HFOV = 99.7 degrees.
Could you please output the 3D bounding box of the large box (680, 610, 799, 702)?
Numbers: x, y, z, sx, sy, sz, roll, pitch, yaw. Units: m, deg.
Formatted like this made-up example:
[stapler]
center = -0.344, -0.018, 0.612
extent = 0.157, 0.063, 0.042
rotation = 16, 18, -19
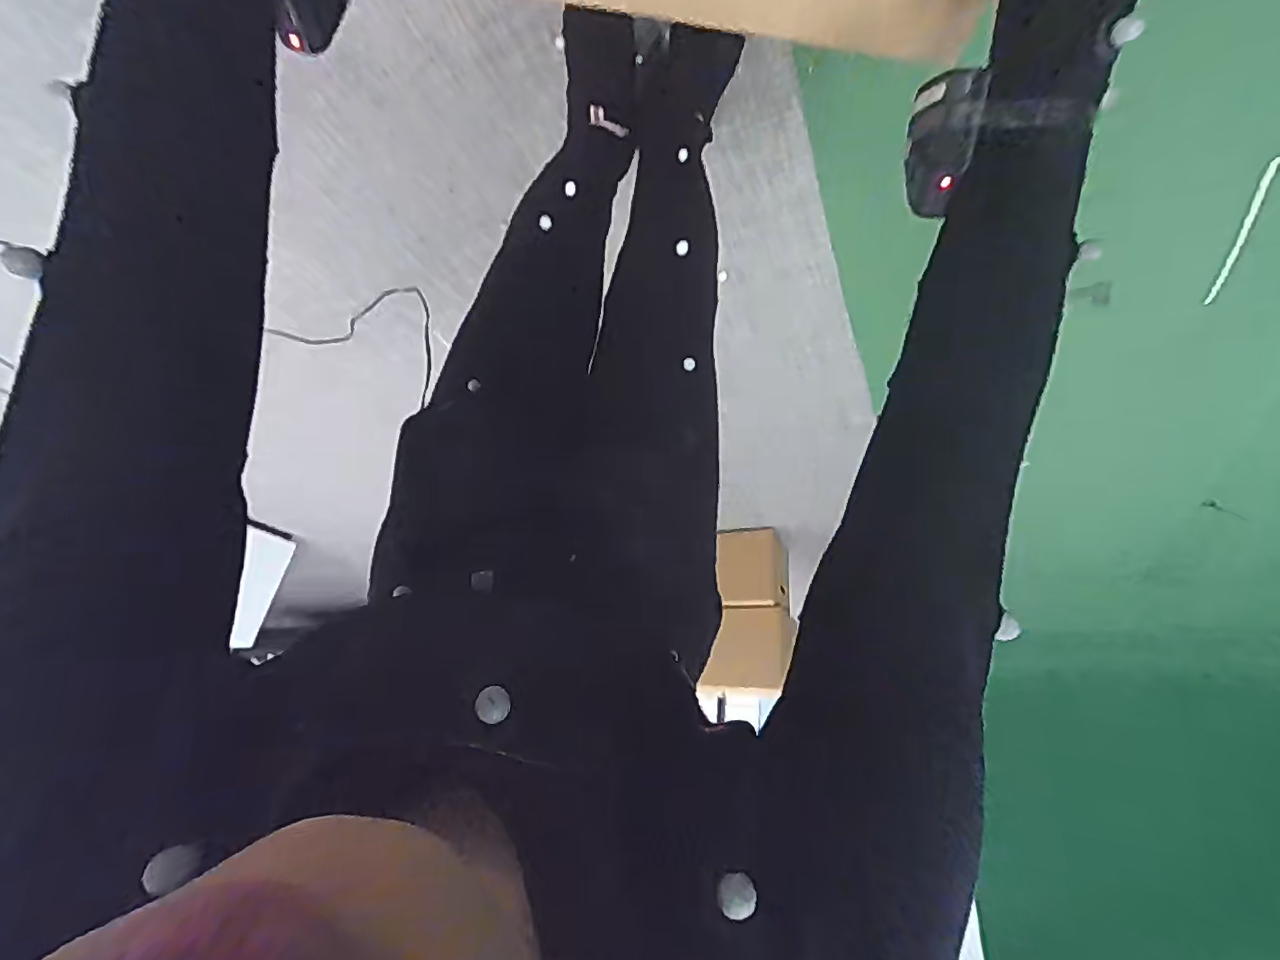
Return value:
[large box]
center = 0.410, 0.720, 2.207
extent = 0.408, 0.320, 0.320
rotation = -8, 151, 26
